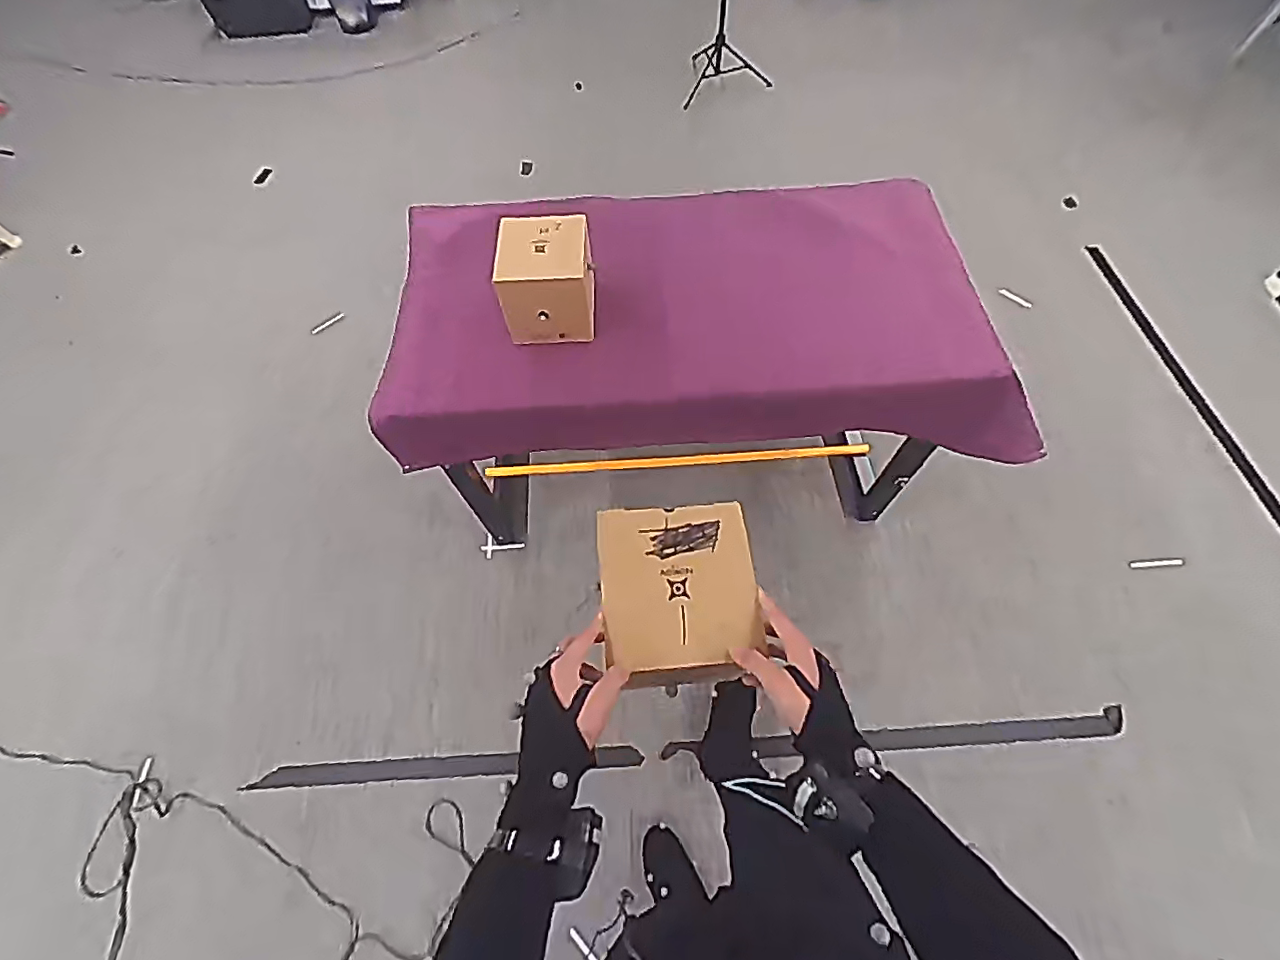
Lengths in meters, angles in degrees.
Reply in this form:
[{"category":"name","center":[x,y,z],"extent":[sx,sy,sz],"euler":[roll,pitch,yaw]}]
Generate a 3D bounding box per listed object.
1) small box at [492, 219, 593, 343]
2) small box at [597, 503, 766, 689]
[{"category":"small box","center":[-0.184,-0.388,1.077],"extent":[0.168,0.176,0.179],"euler":[-2,62,1]},{"category":"small box","center":[0.034,0.143,0.644],"extent":[0.168,0.176,0.179],"euler":[-3,64,-5]}]
